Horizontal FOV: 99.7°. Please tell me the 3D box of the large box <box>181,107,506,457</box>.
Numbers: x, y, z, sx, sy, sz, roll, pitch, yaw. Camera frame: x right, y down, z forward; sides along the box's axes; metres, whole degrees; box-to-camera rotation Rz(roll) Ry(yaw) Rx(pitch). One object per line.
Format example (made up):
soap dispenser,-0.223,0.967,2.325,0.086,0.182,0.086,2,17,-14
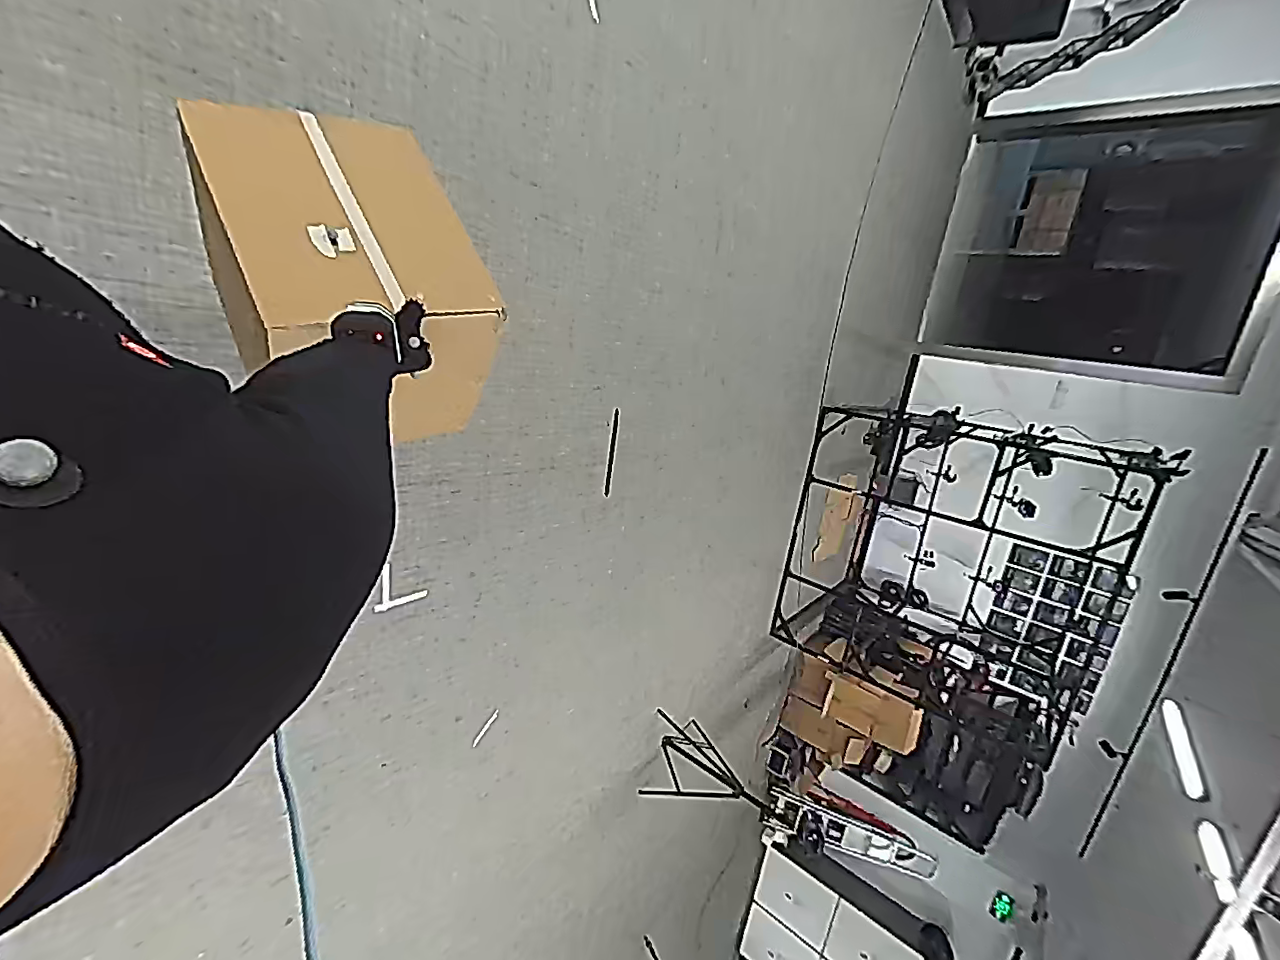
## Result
large box,-0.481,-0.307,0.889,0.320,0.408,0.320,-19,163,-37
